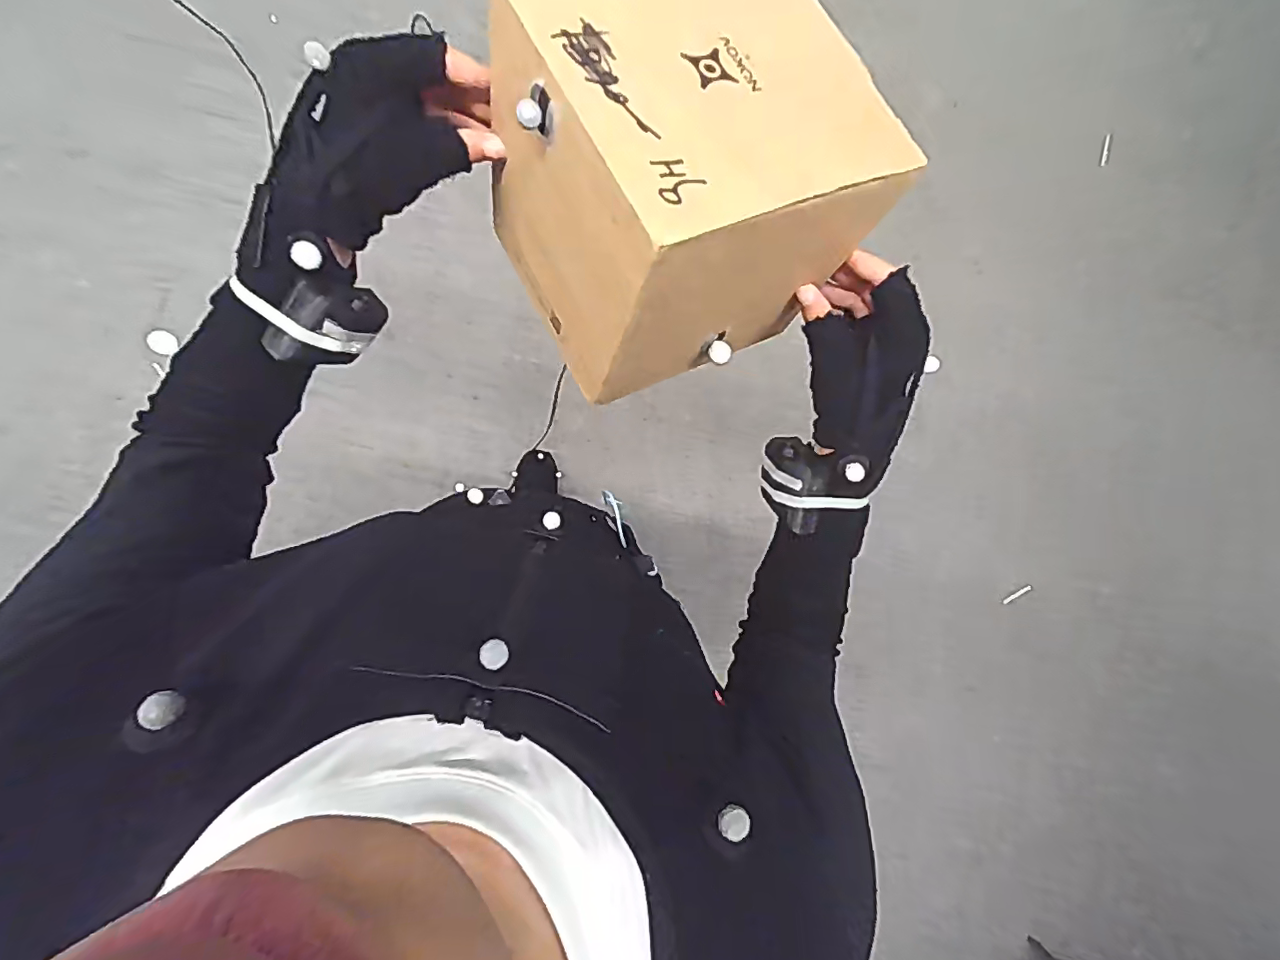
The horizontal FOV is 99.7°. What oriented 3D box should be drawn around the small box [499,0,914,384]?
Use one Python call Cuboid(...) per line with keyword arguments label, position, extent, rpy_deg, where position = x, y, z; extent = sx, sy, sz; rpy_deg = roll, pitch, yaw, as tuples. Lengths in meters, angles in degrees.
Cuboid(label="small box", position=(0.021, -0.189, 0.349), extent=(0.179, 0.176, 0.168), rpy_deg=(-25, 81, -21))
